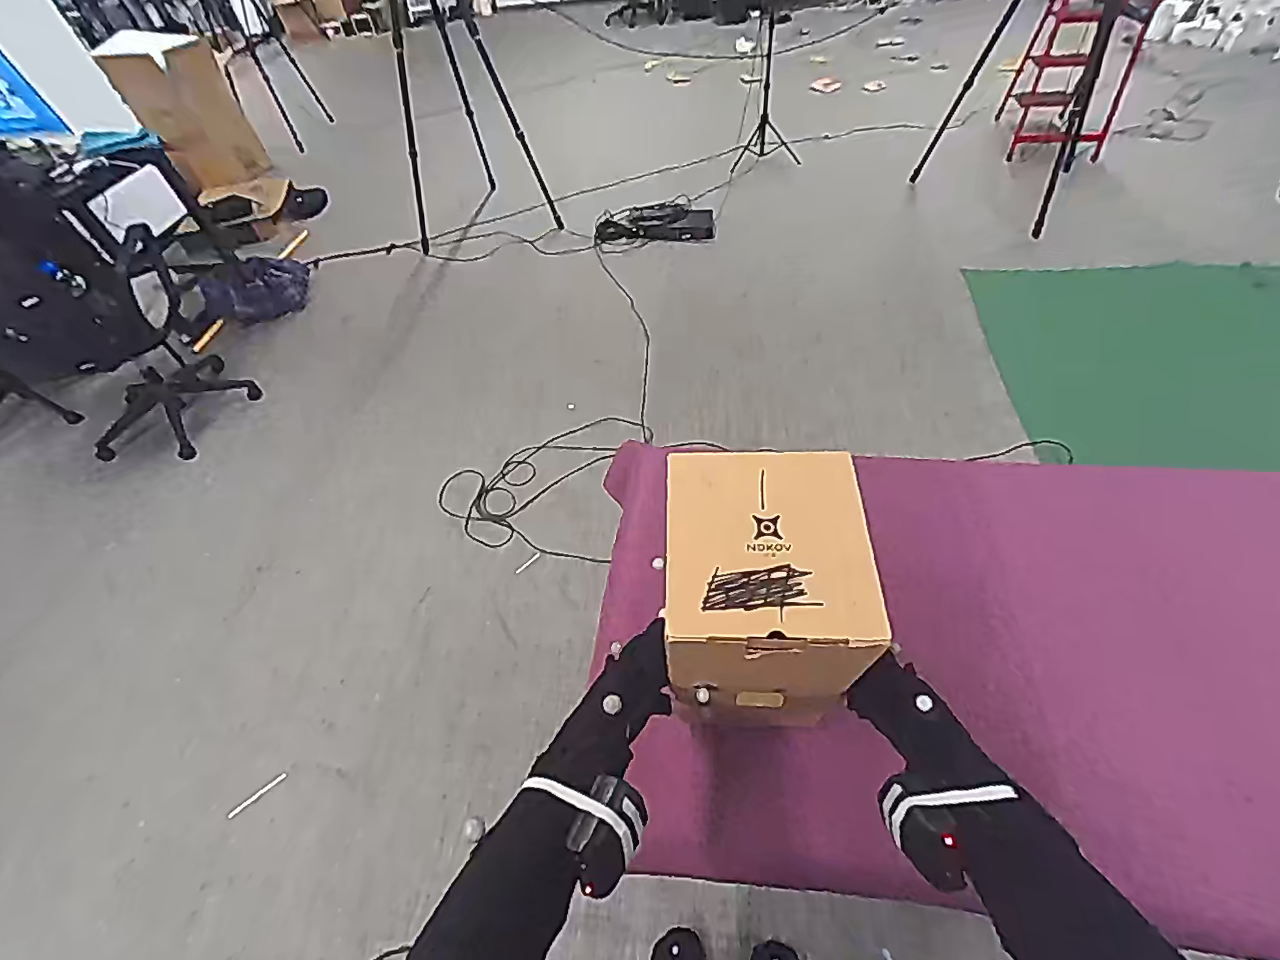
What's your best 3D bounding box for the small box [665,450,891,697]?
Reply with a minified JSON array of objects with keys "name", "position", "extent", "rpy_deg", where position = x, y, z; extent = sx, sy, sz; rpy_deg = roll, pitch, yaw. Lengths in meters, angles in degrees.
[{"name":"small box","position":[0.112,0.093,0.503],"extent":[0.168,0.176,0.179],"rpy_deg":[3,57,5]}]
